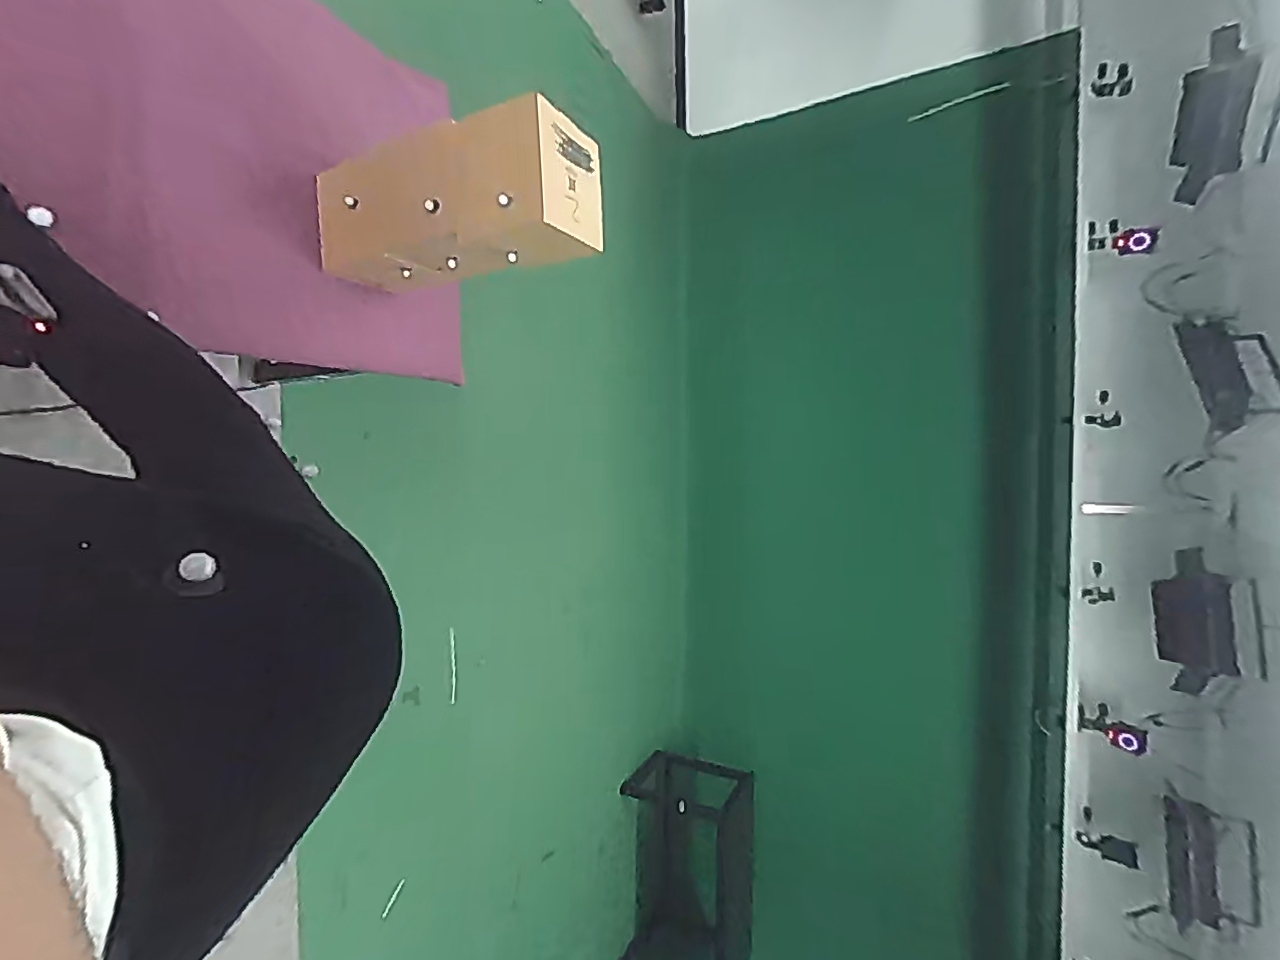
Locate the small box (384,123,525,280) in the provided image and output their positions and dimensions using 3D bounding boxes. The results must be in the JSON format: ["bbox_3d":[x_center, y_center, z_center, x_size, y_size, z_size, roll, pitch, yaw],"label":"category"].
[{"bbox_3d":[-0.318,-0.462,0.932,0.168,0.176,0.179,-5,94,-63],"label":"small box"}]

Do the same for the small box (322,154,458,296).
[{"bbox_3d":[-0.465,-0.460,1.008,0.168,0.176,0.179,-8,97,-62],"label":"small box"}]
